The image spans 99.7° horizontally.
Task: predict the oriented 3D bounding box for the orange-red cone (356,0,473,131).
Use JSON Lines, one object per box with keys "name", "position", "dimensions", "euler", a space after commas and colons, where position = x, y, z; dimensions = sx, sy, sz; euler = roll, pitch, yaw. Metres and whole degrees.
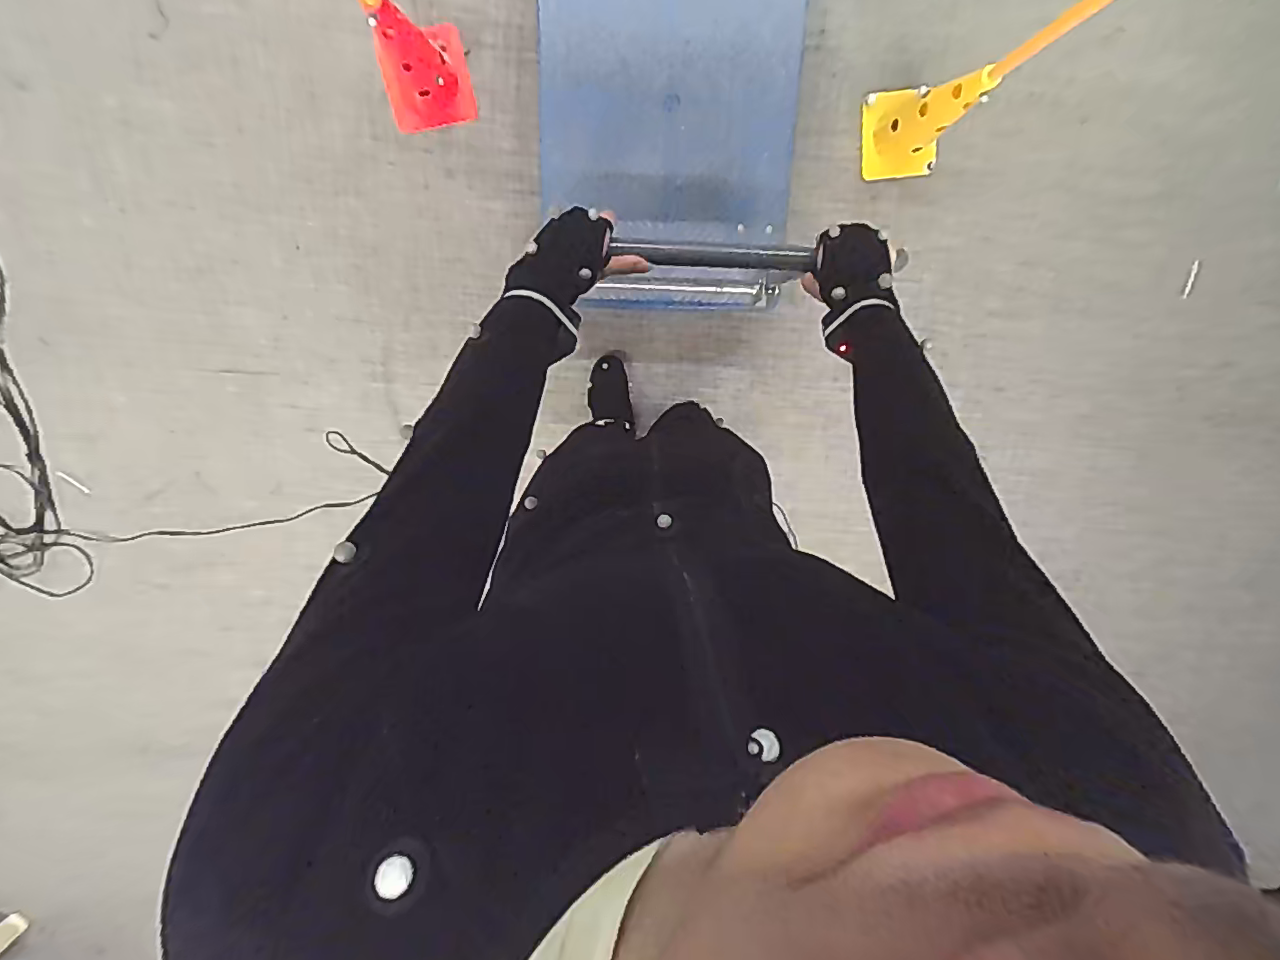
{"name": "orange-red cone", "position": [-0.497, -0.899, 1.115], "dimensions": [0.199, 0.360, 0.198], "euler": [-11, 107, 0]}
